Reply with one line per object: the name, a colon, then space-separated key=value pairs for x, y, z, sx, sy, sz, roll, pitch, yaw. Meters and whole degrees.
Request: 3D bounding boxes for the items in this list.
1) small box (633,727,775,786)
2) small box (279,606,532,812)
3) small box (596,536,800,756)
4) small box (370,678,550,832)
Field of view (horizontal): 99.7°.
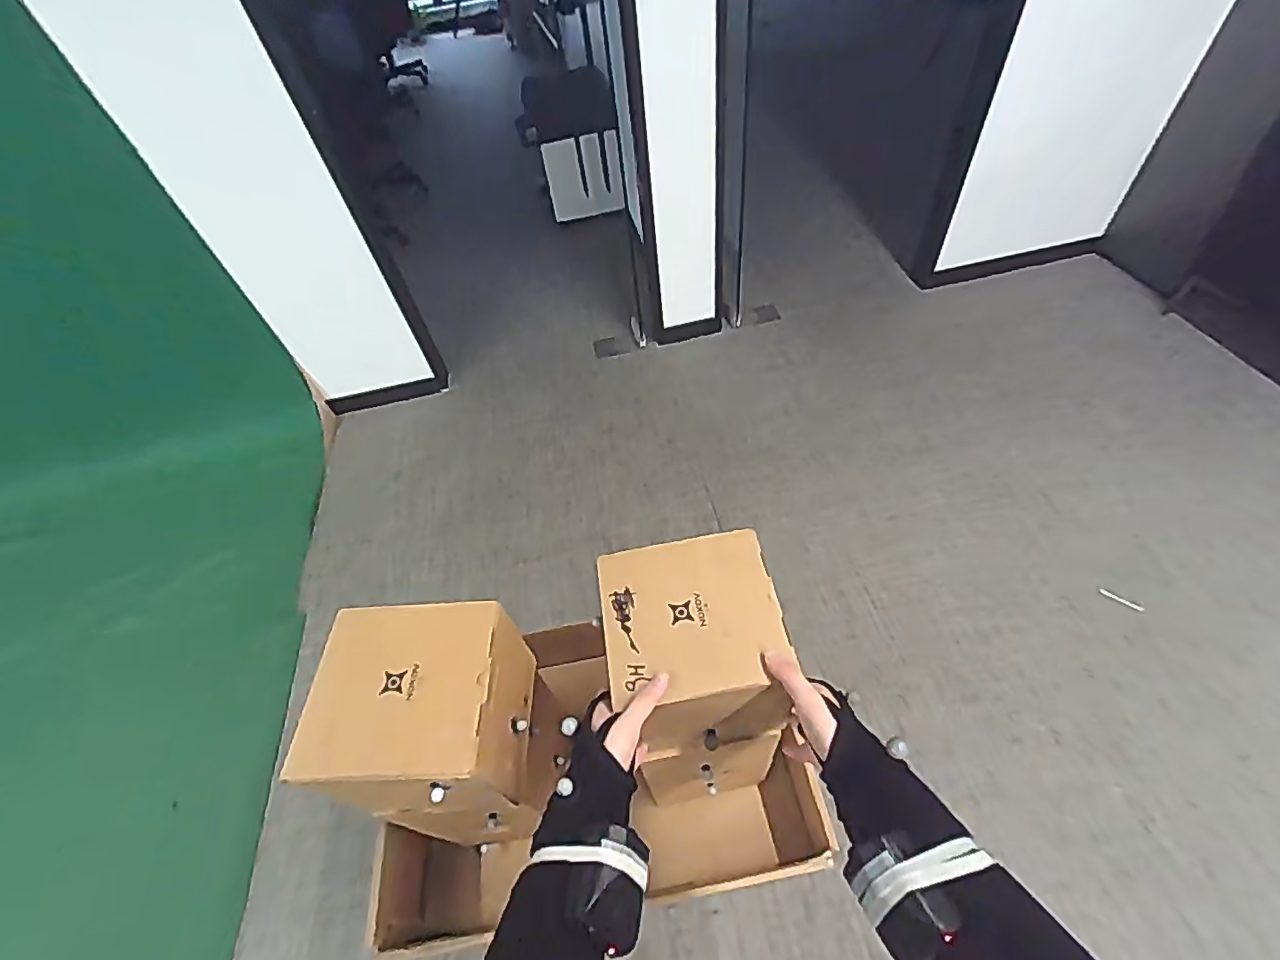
small box: x=0.071 y=0.290 z=0.717 sx=0.168 sy=0.176 sz=0.179 roll=-10 pitch=50 yaw=-1
small box: x=-0.229 y=0.251 z=0.584 sx=0.179 sy=0.176 sz=0.168 roll=-3 pitch=50 yaw=2
small box: x=0.055 y=0.185 z=0.591 sx=0.179 sy=0.176 sz=0.168 roll=-10 pitch=50 yaw=0
small box: x=-0.218 y=0.351 z=0.712 sx=0.168 sy=0.176 sz=0.179 roll=-6 pitch=50 yaw=2
